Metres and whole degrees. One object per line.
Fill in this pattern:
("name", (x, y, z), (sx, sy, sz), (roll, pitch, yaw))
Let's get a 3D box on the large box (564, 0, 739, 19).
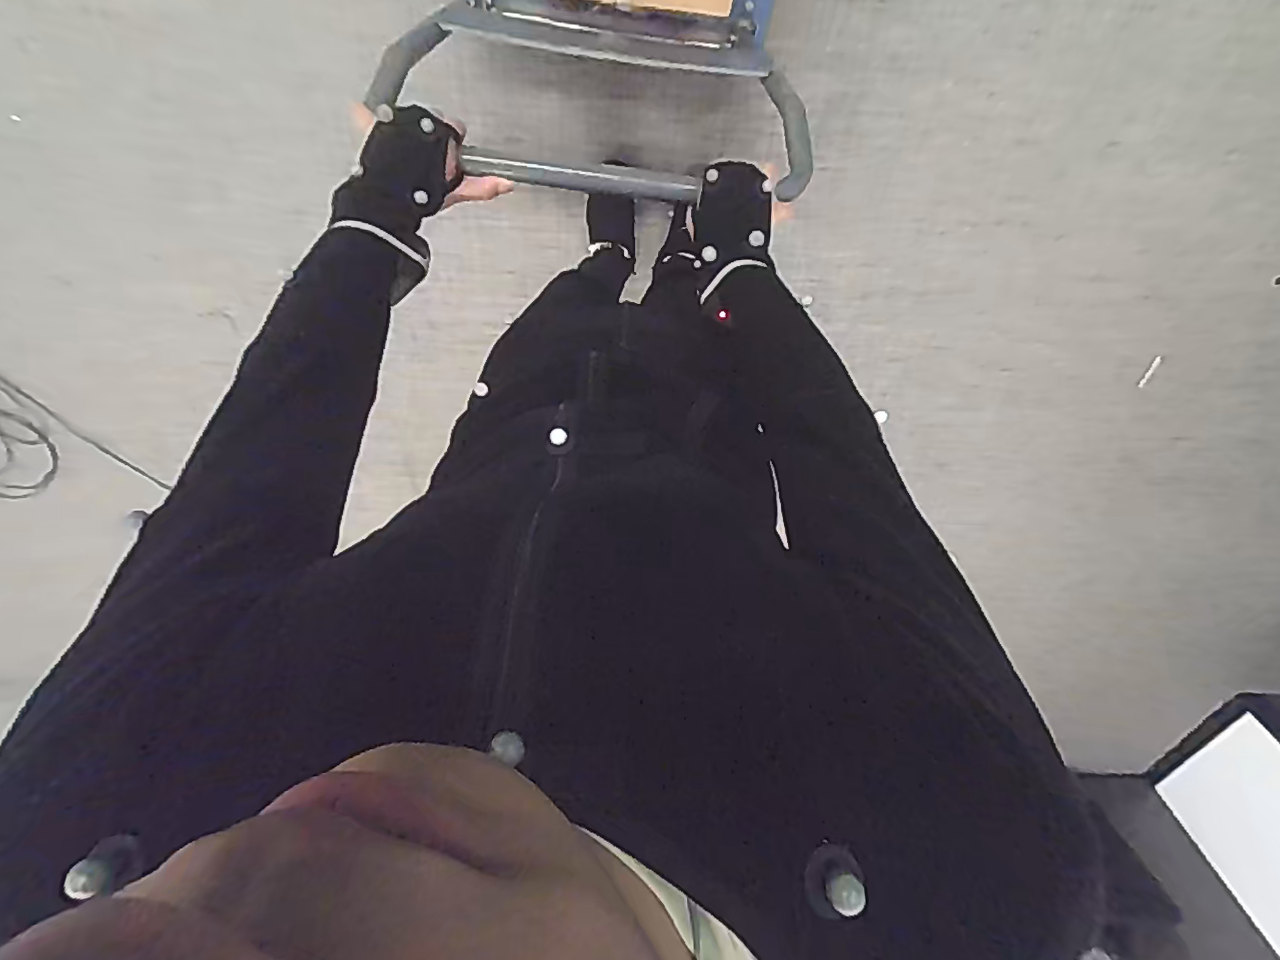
("large box", (0.006, -0.919, 0.743), (0.320, 0.320, 0.408), (4, 134, -5))
